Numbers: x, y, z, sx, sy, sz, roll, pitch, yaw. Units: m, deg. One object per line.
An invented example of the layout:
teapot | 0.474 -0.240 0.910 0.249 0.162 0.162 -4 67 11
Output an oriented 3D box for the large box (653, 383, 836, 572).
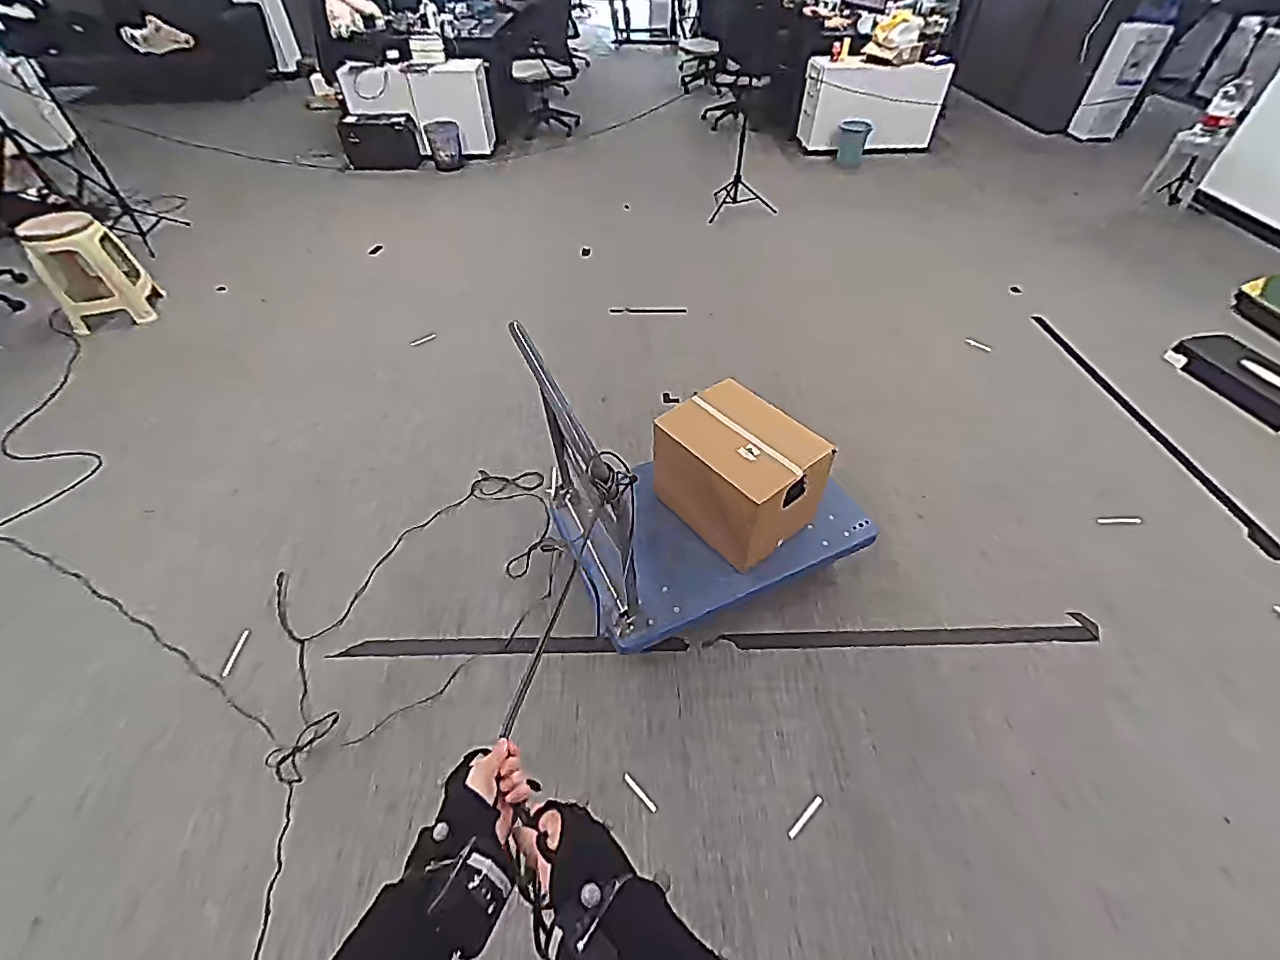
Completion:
large box | 0.281 -0.014 1.587 0.320 0.320 0.408 -32 56 -25
